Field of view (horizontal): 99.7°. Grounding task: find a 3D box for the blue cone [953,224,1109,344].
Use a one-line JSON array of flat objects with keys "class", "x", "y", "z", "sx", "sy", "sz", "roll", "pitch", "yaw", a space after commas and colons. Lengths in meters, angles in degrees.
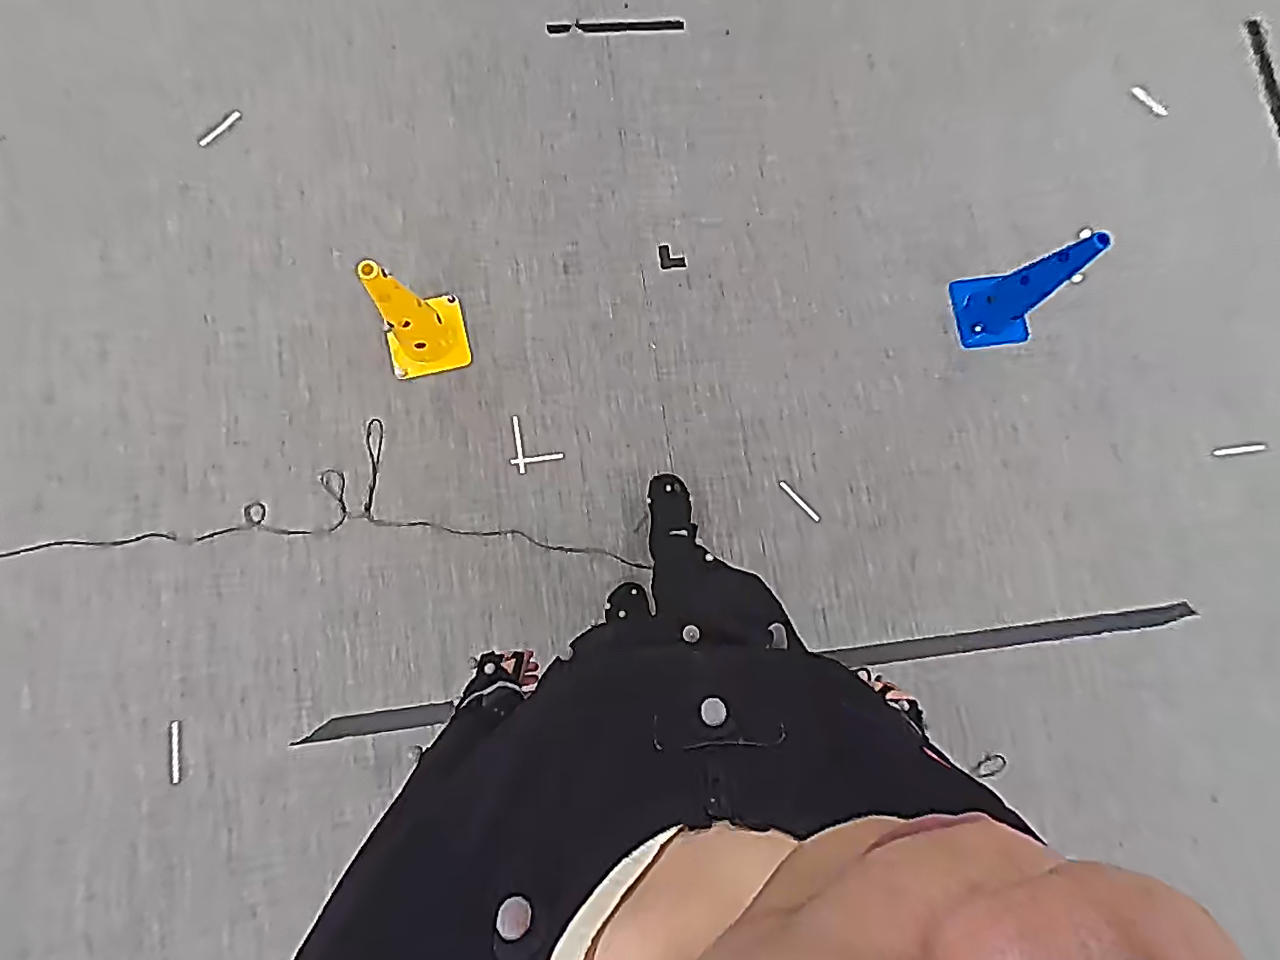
[{"class": "blue cone", "x": 0.984, "y": -0.497, "z": 1.342, "sx": 0.193, "sy": 0.380, "sz": 0.192, "roll": -6, "pitch": 82, "yaw": -4}]
